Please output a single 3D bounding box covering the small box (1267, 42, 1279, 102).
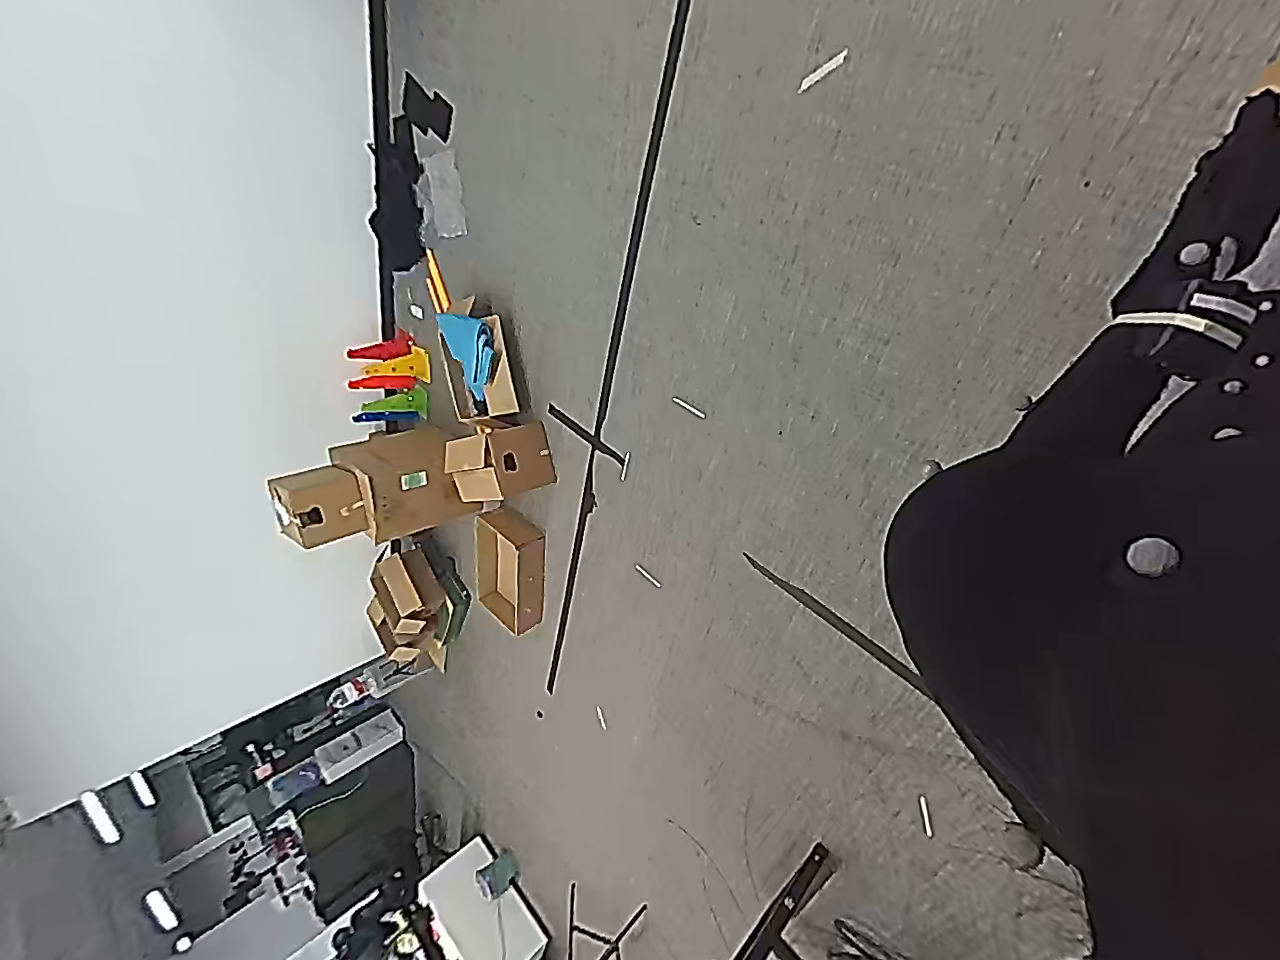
[{"bbox_3d":[0.621,-0.322,0.386,0.179,0.176,0.168,42,146,4],"label":"small box"}]
